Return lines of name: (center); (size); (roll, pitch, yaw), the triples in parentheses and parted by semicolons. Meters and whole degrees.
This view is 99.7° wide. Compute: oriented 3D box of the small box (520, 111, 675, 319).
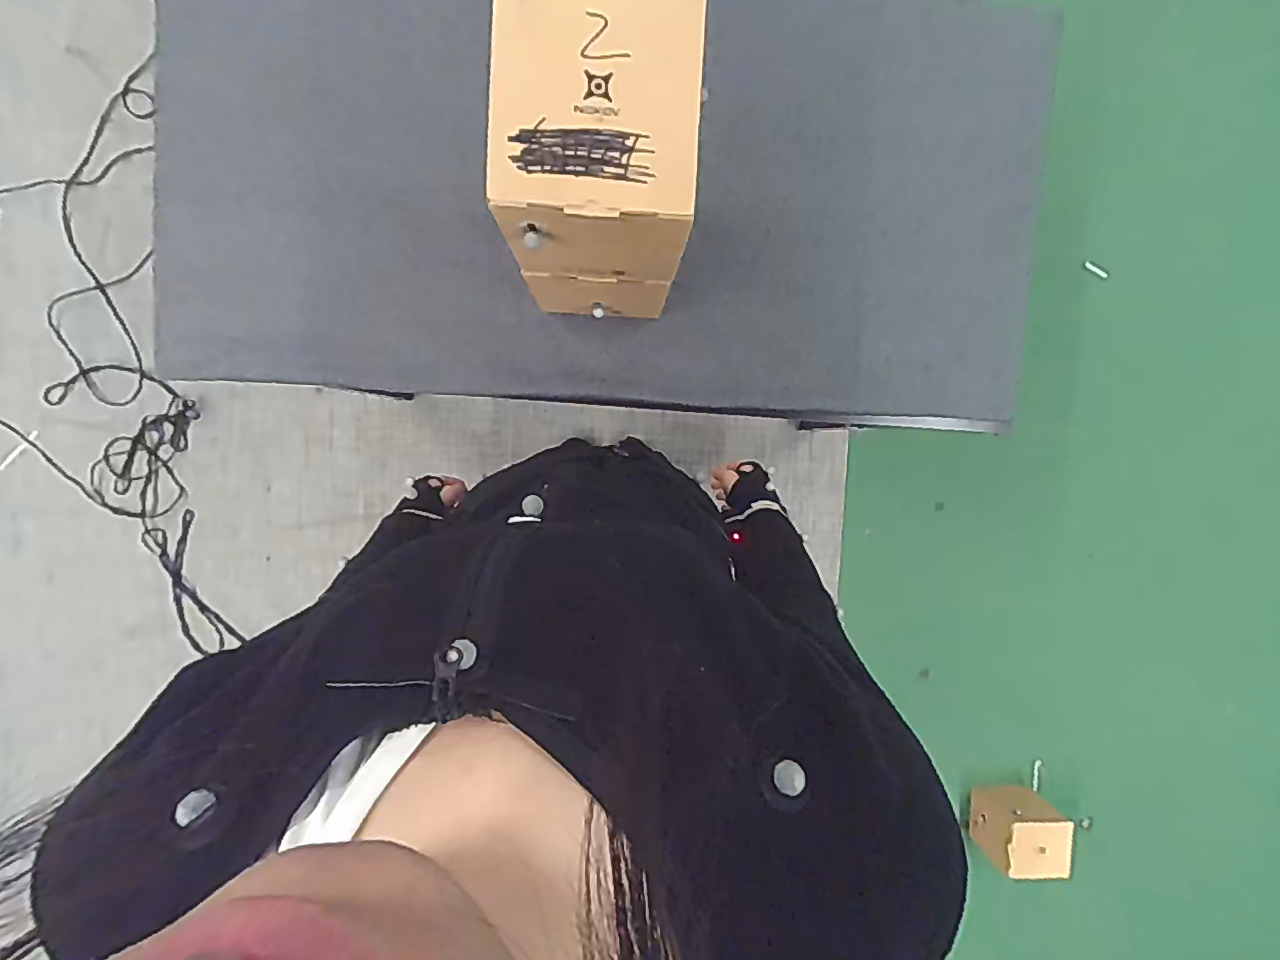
small box: (-0.052, -0.312, 0.671); (0.168, 0.176, 0.179); (2, 94, -4)

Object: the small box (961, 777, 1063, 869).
small box: (1.085, 0.998, 1.587); (0.179, 0.176, 0.168); (0, 95, -3)
